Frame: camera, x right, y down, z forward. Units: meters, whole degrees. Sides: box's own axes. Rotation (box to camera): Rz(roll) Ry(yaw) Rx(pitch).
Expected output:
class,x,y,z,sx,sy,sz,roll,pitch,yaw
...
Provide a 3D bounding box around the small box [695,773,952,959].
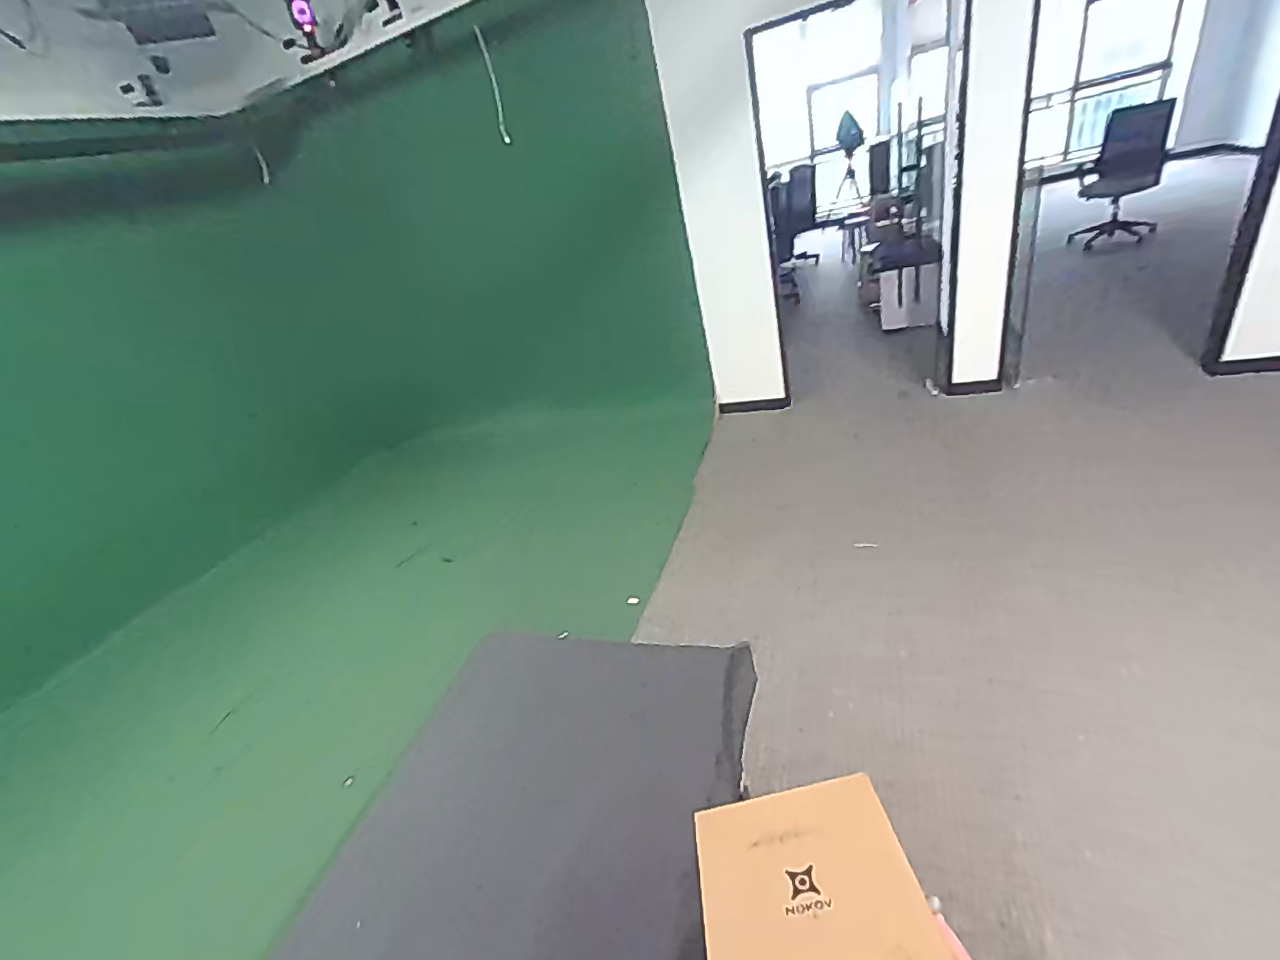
class,x,y,z,sx,sy,sz,roll,pitch,yaw
small box,0.151,0.388,0.441,0.168,0.176,0.179,-16,15,5
